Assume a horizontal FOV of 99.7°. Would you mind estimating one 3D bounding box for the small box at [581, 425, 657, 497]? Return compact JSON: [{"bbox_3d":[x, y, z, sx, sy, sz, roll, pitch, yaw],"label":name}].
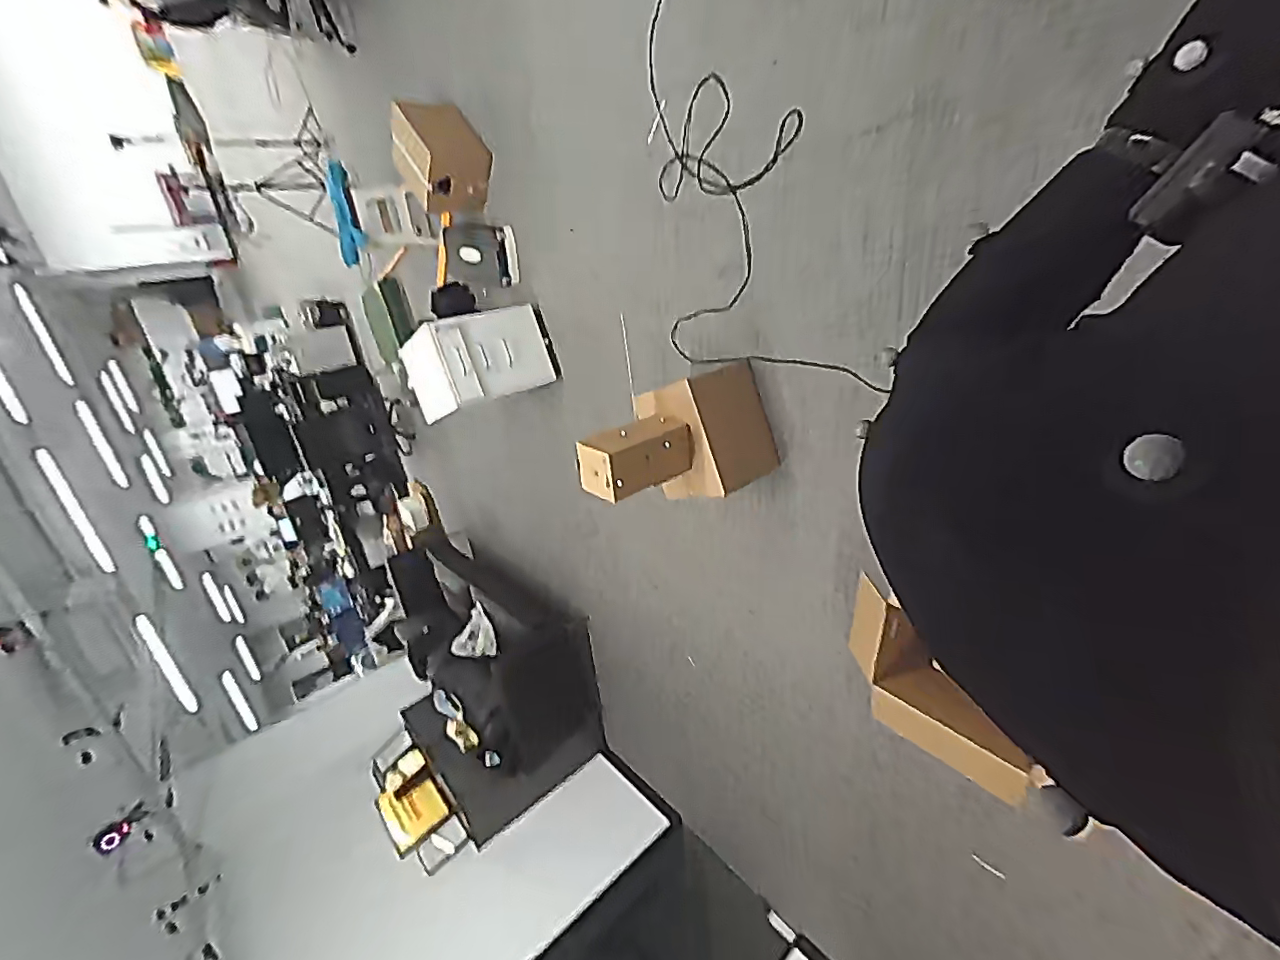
[{"bbox_3d":[-0.065,-0.068,1.731,0.179,0.176,0.168,24,129,46],"label":"small box"}]
